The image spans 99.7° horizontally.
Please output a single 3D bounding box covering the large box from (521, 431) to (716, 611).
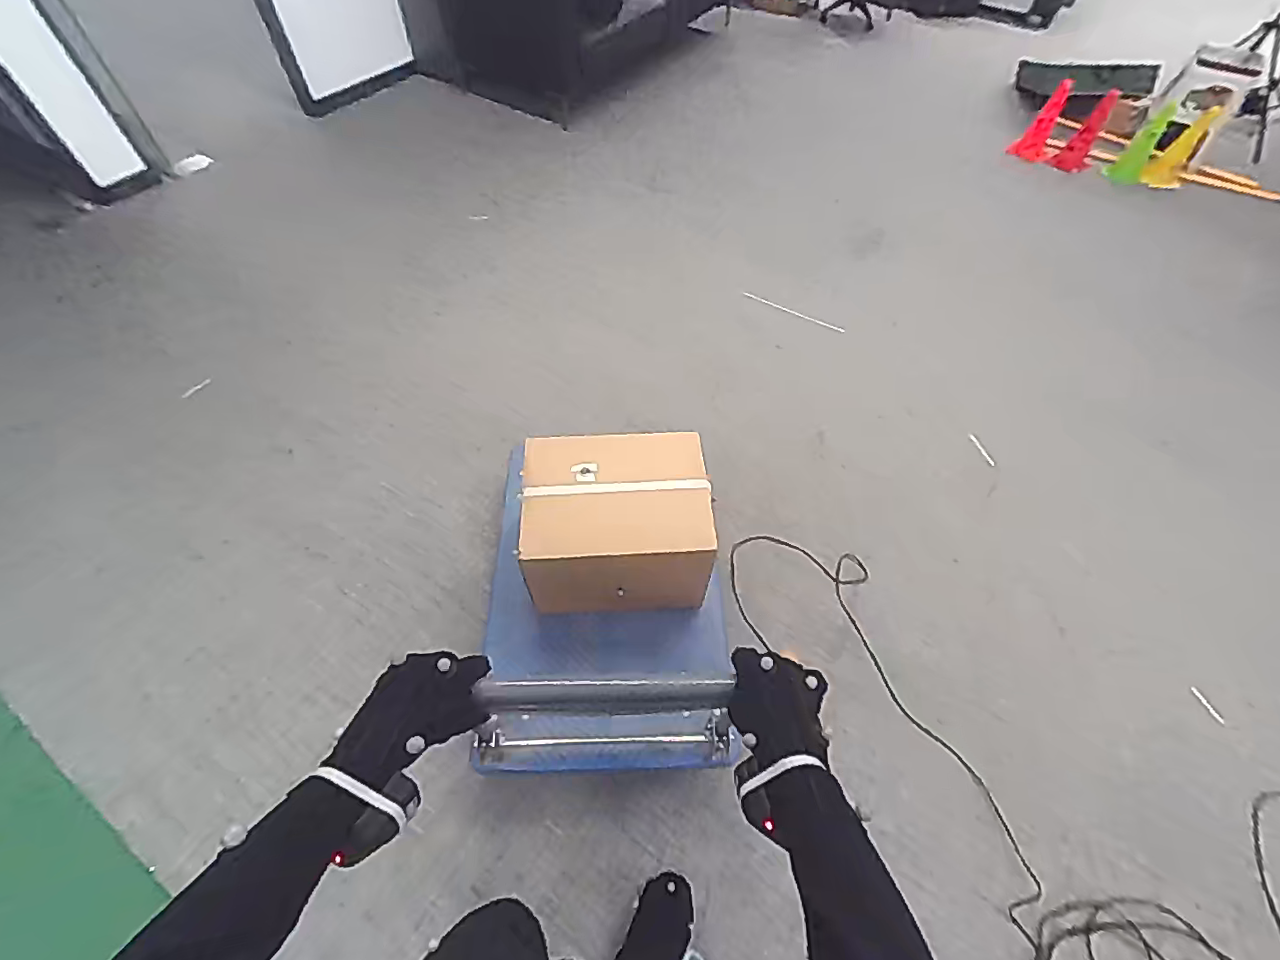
[{"bbox_3d":[-0.054,0.106,1.295,0.408,0.320,0.320,-3,55,-3],"label":"large box"}]
